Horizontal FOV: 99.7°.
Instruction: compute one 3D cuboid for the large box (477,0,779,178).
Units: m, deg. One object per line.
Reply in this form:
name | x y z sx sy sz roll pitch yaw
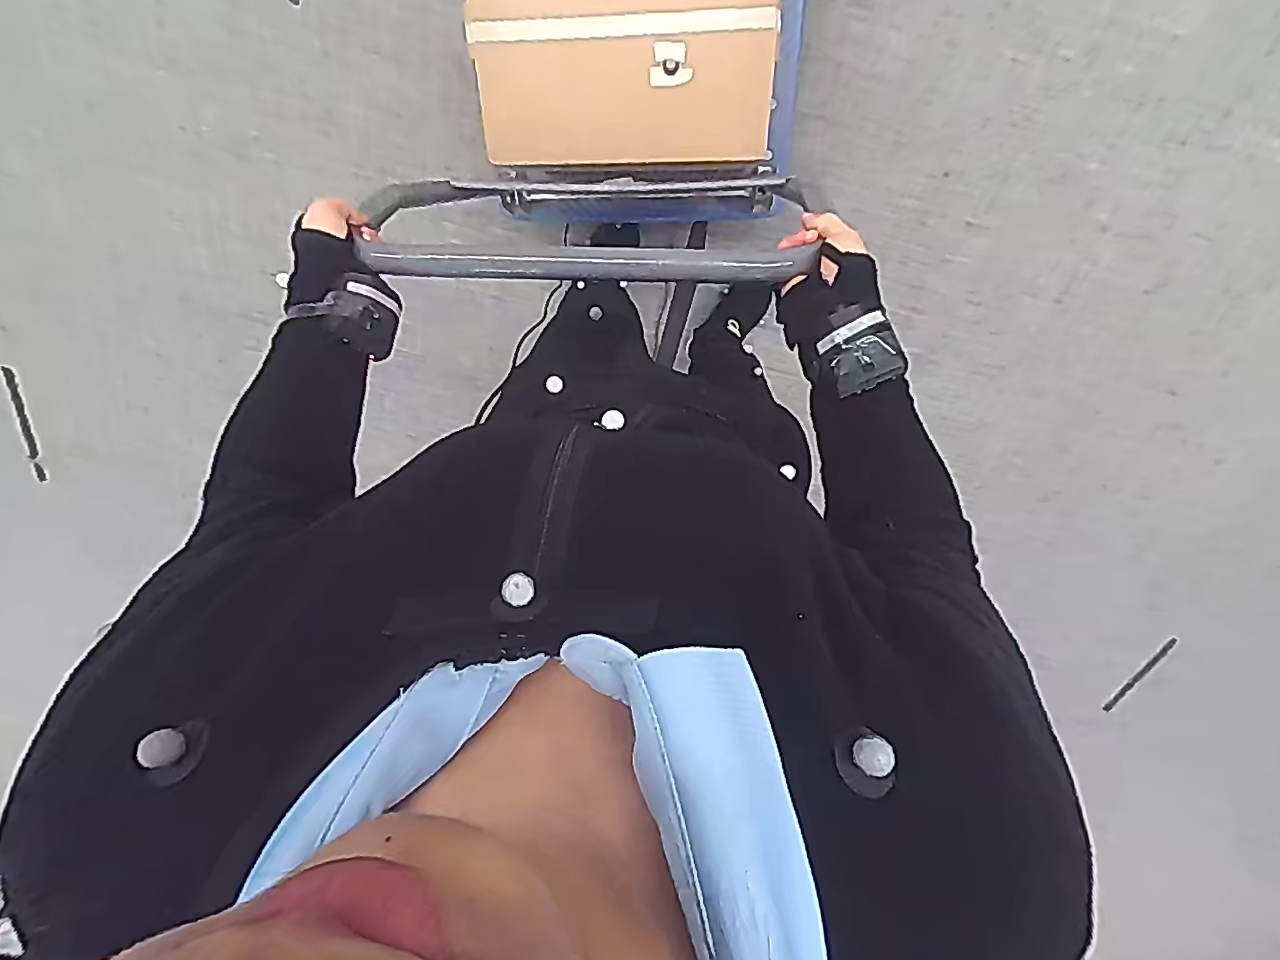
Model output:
large box | -0.009 -0.664 0.851 0.408 0.320 0.320 1 119 4
